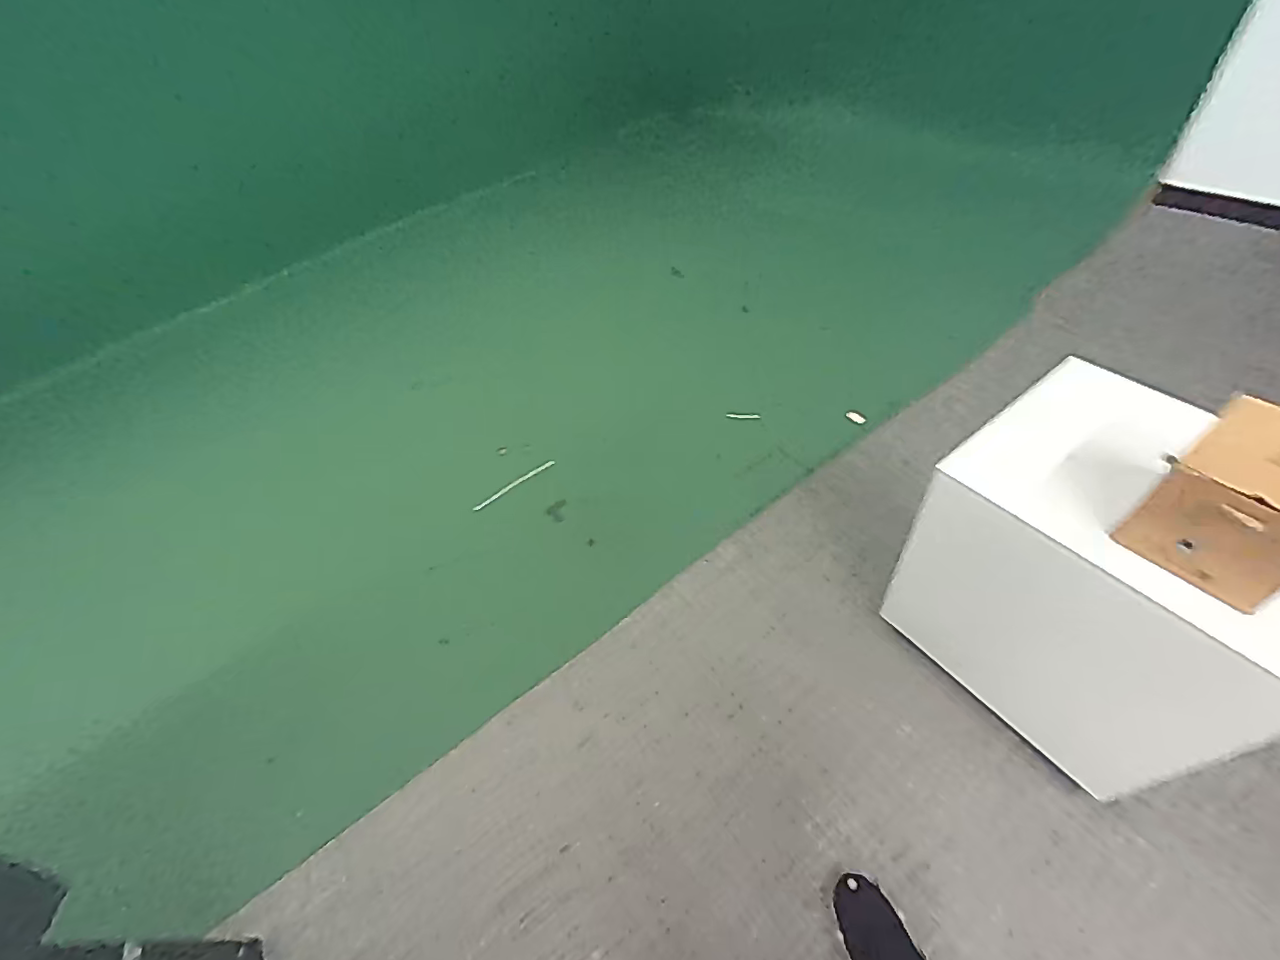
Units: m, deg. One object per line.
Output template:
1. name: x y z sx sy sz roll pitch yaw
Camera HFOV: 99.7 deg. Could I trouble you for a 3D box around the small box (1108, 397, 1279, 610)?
1. small box: 0.769 0.031 0.701 0.179 0.176 0.168 -35 53 -17
